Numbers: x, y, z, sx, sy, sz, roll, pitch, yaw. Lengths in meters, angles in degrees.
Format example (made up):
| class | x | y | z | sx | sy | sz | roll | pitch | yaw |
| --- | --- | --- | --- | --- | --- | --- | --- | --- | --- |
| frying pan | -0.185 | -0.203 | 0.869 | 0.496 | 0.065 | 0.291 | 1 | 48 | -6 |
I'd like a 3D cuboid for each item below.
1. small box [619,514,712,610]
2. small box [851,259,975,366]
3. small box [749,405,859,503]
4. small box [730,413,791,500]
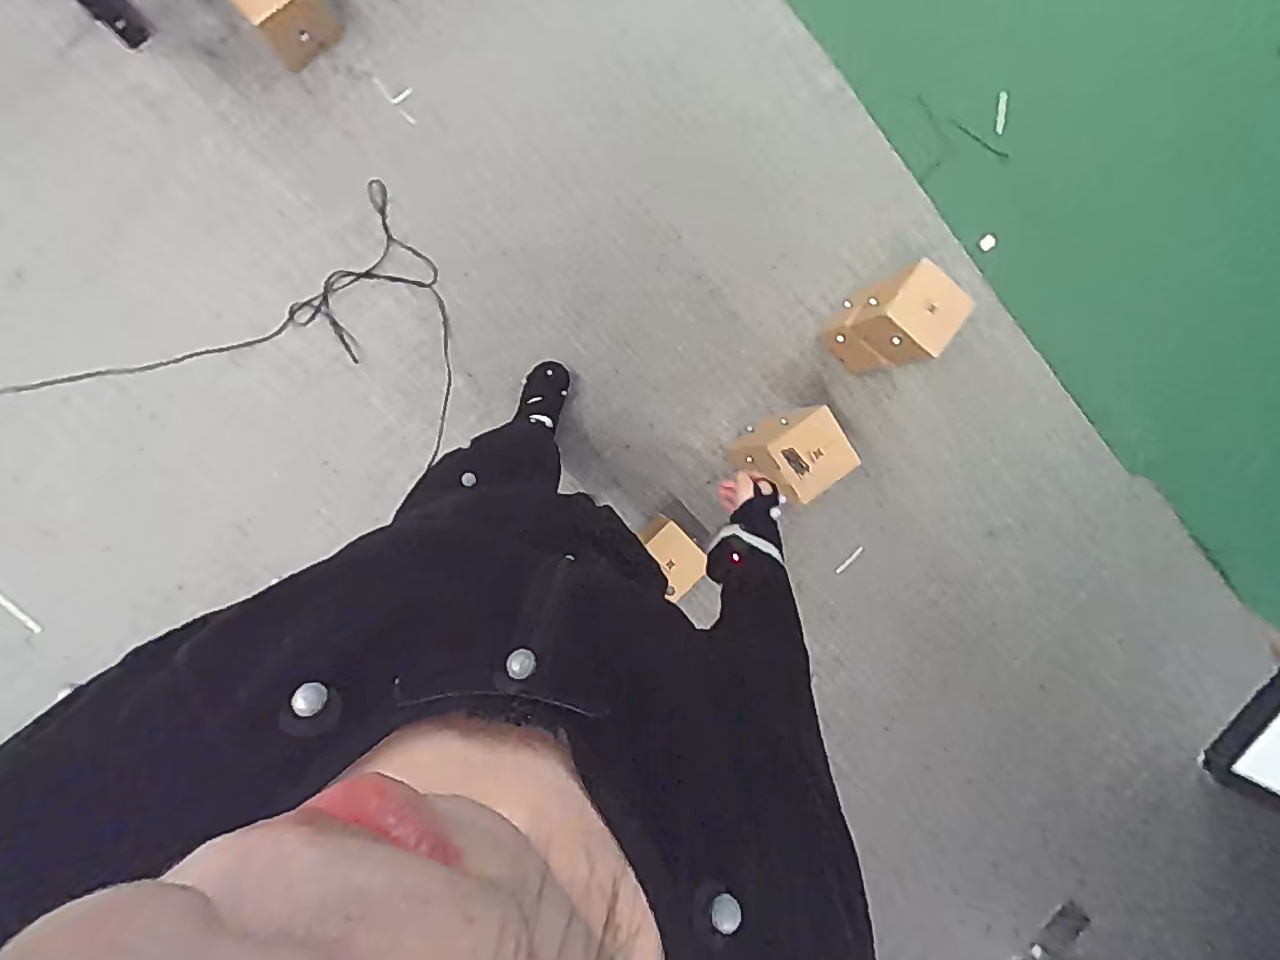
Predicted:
| class | x | y | z | sx | sy | sz | roll | pitch | yaw |
| --- | --- | --- | --- | --- | --- | --- | --- | --- | --- |
| small box | 0.061 | 0.210 | 1.455 | 0.179 | 0.176 | 0.168 | -43 | 98 | -2 |
| small box | 0.662 | -0.400 | 1.333 | 0.179 | 0.176 | 0.168 | 38 | 89 | -10 |
| small box | 0.385 | -0.061 | 1.314 | 0.179 | 0.176 | 0.168 | -35 | 98 | -6 |
| small box | 0.366 | -0.065 | 1.479 | 0.179 | 0.176 | 0.168 | -35 | 98 | -4 |
